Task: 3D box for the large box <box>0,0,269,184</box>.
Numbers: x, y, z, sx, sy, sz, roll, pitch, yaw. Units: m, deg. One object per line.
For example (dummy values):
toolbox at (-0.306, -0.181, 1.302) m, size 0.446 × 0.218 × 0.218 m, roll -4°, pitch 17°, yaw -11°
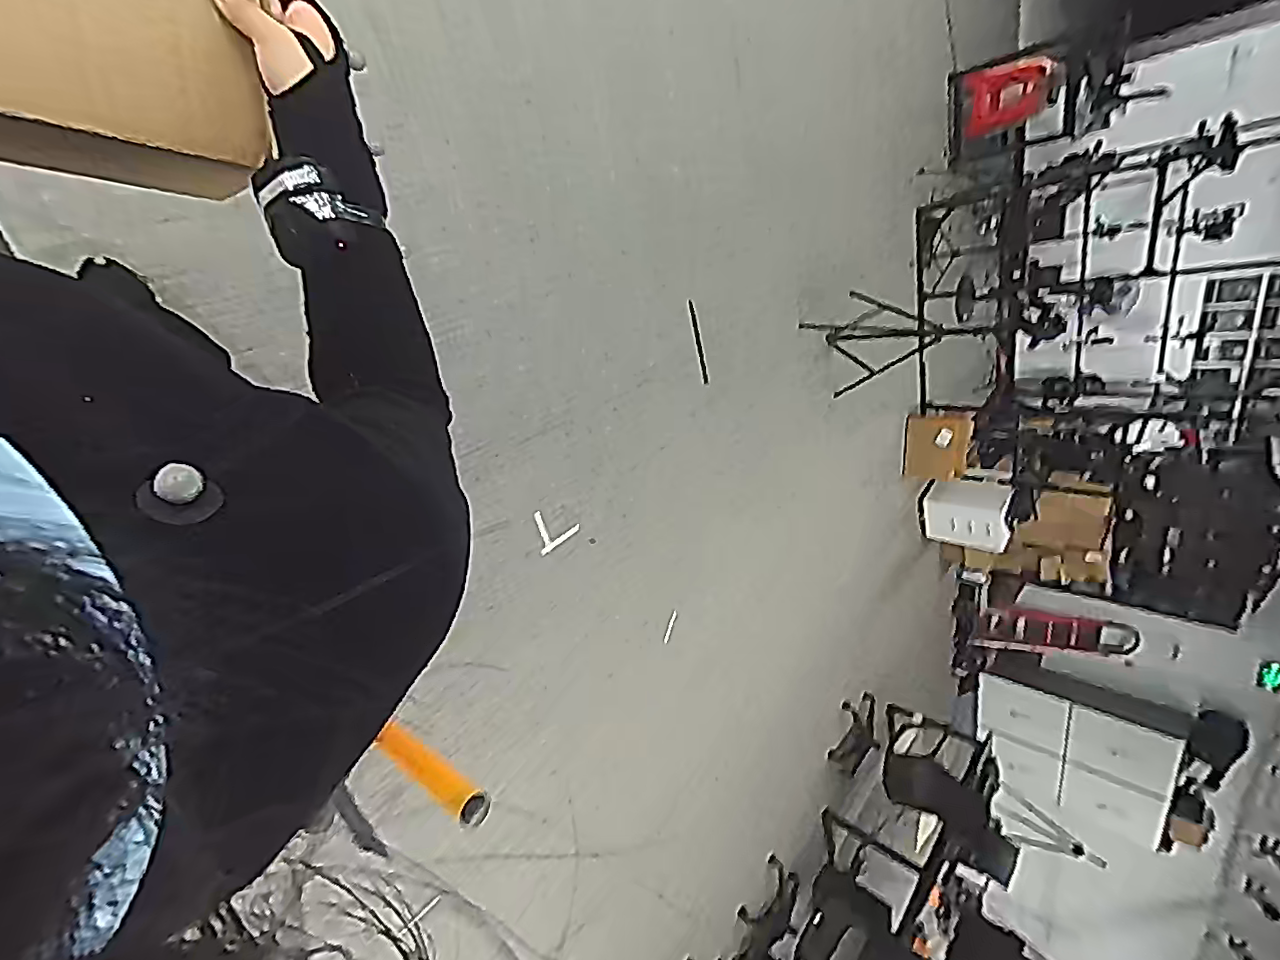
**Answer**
large box at (-0.539, -0.424, 0.375) m, size 0.408 × 0.320 × 0.320 m, roll -10°, pitch 113°, yaw -41°
